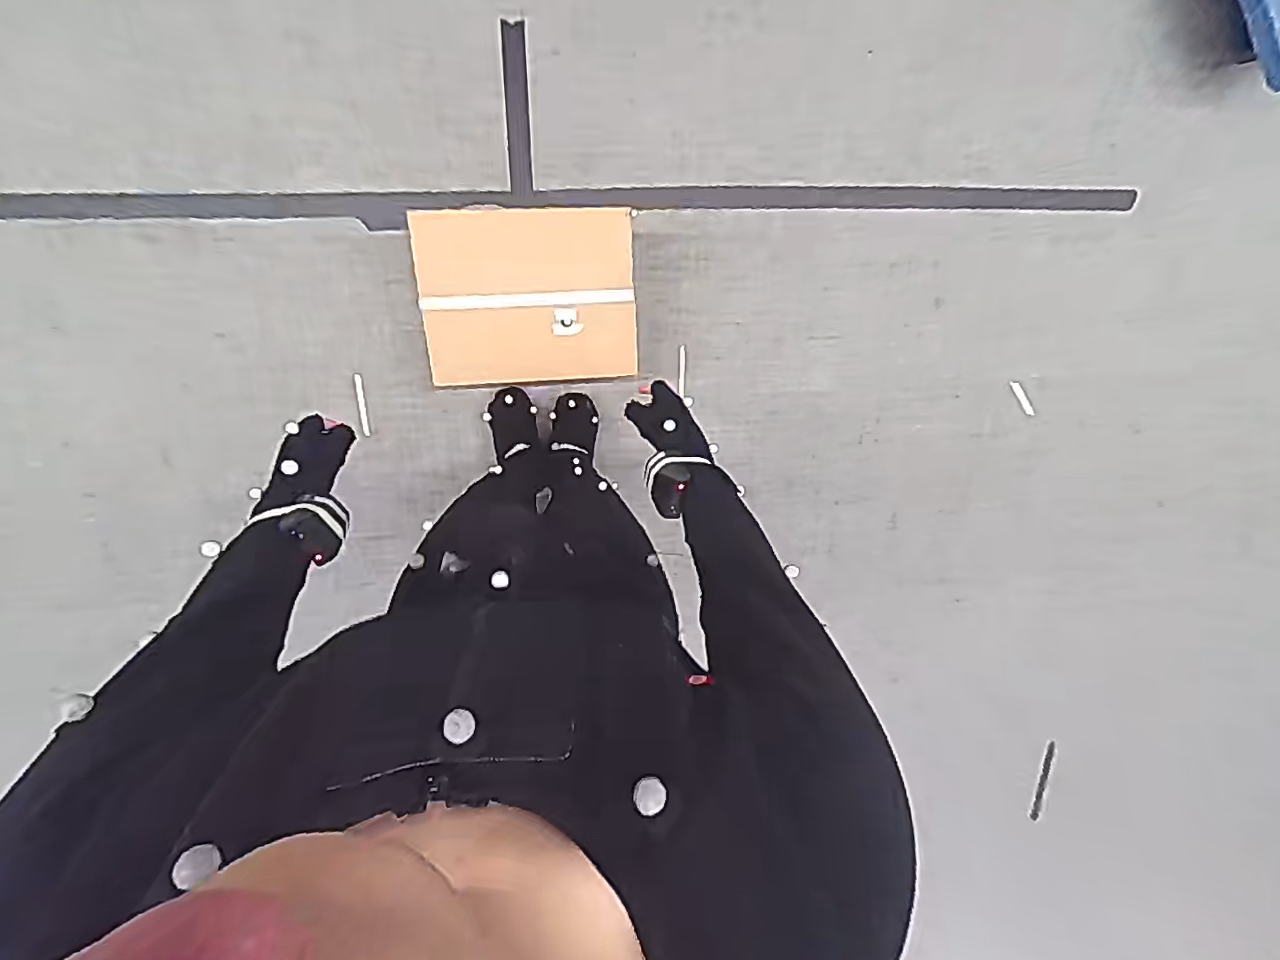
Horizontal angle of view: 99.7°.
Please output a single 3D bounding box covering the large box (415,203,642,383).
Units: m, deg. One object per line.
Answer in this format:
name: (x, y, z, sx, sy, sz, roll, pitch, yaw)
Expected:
large box: (-0.223, -0.397, 1.174, 0.408, 0.320, 0.320, -5, 109, -8)
